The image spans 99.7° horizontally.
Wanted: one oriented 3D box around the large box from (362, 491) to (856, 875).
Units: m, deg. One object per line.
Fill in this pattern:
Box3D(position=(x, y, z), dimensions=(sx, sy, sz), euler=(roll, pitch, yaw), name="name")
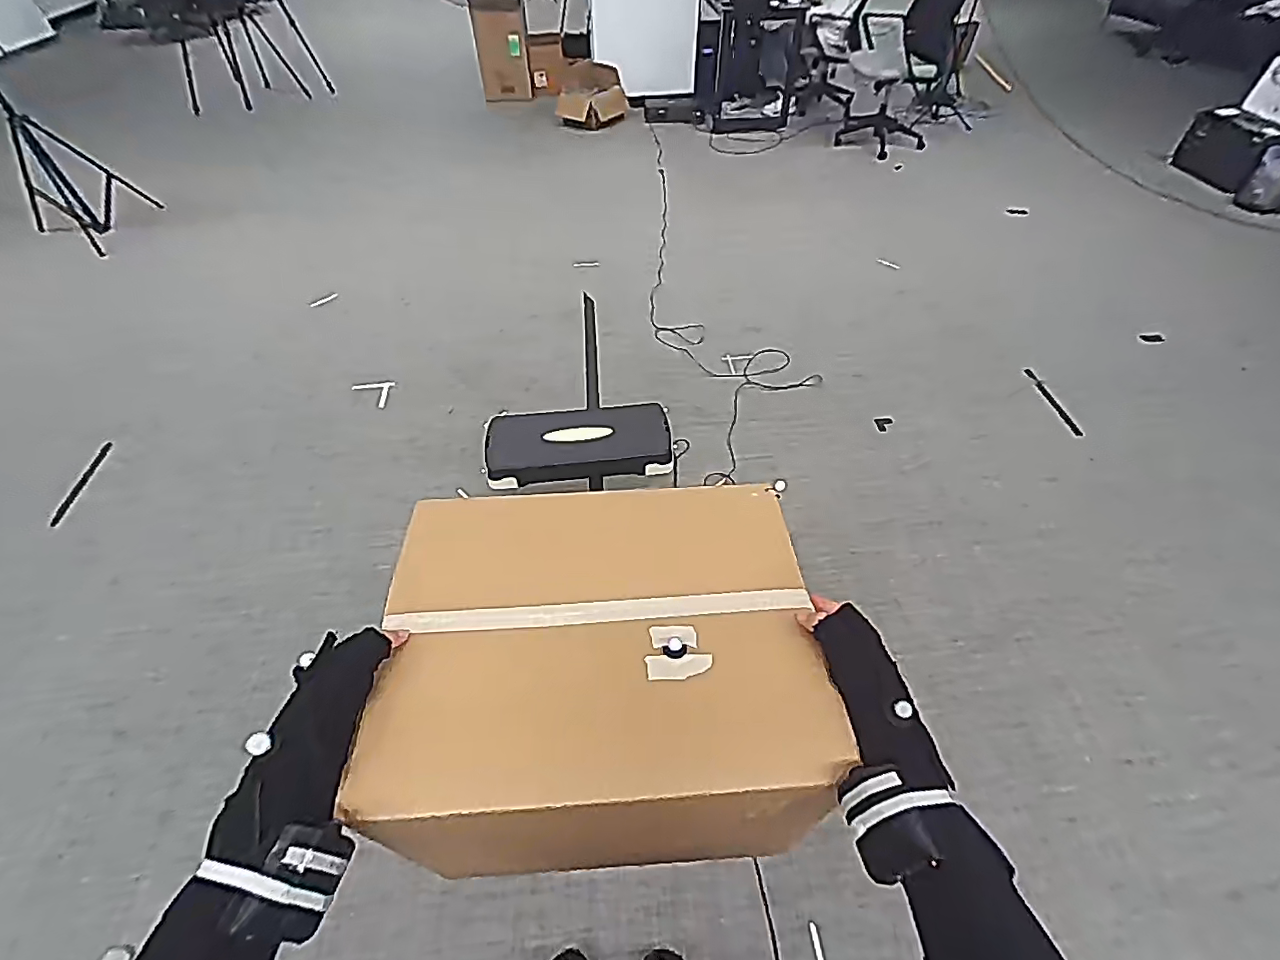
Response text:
Box3D(position=(-0.033, 0.236, 0.635), dimensions=(0.408, 0.320, 0.320), euler=(-2, 47, -3), name="large box")
